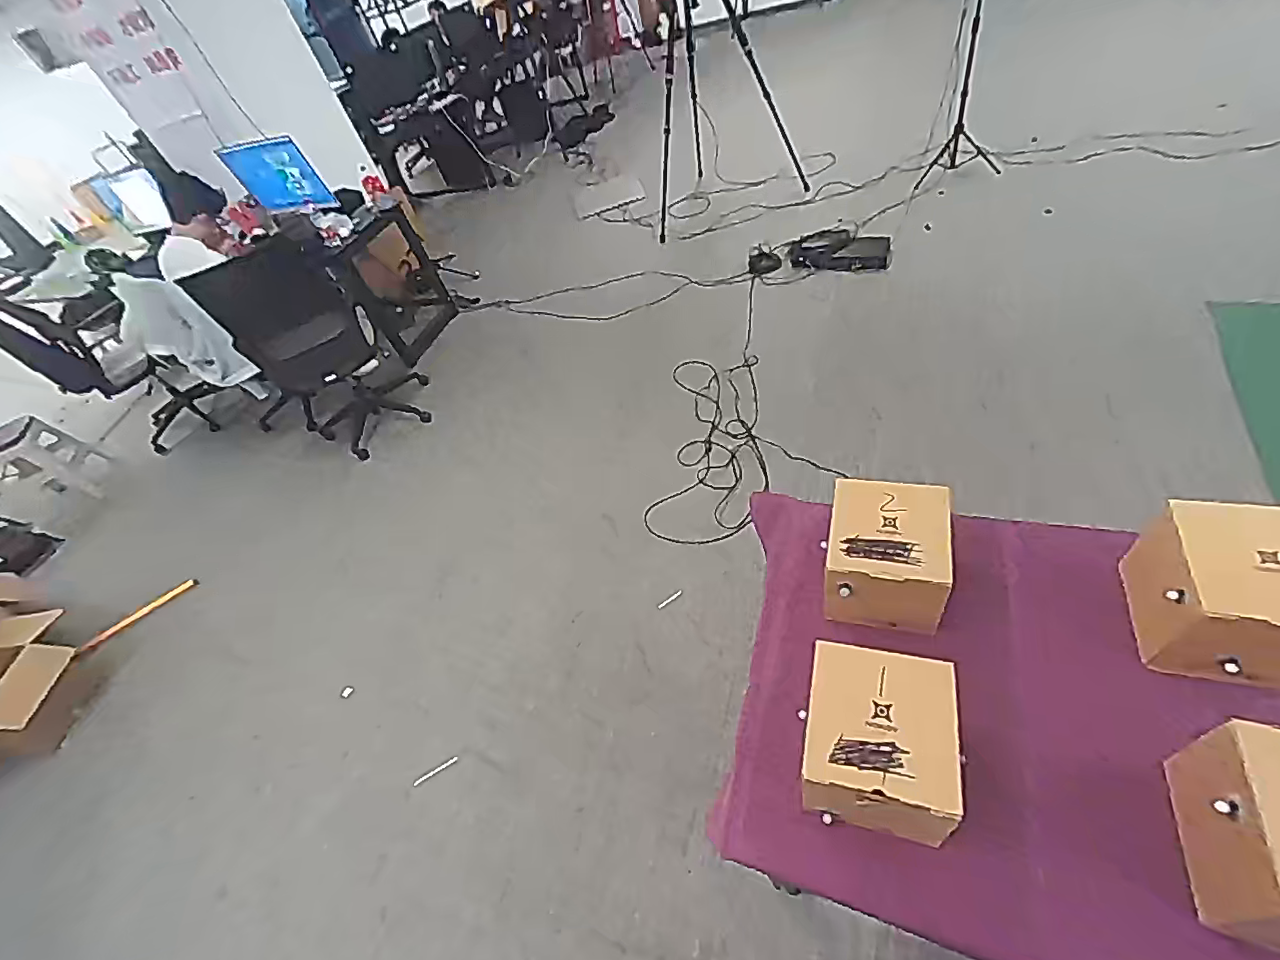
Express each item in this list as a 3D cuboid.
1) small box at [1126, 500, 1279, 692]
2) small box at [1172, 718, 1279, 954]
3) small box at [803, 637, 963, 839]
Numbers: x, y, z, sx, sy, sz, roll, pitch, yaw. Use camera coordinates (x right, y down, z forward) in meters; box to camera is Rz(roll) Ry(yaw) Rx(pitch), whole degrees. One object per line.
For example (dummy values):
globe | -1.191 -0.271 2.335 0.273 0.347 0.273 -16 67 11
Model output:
small box | 0.789 0.152 0.714 0.168 0.176 0.179 5 53 22
small box | 0.690 0.375 0.544 0.168 0.176 0.179 7 51 24
small box | 0.308 0.334 0.700 0.168 0.176 0.179 5 50 21
